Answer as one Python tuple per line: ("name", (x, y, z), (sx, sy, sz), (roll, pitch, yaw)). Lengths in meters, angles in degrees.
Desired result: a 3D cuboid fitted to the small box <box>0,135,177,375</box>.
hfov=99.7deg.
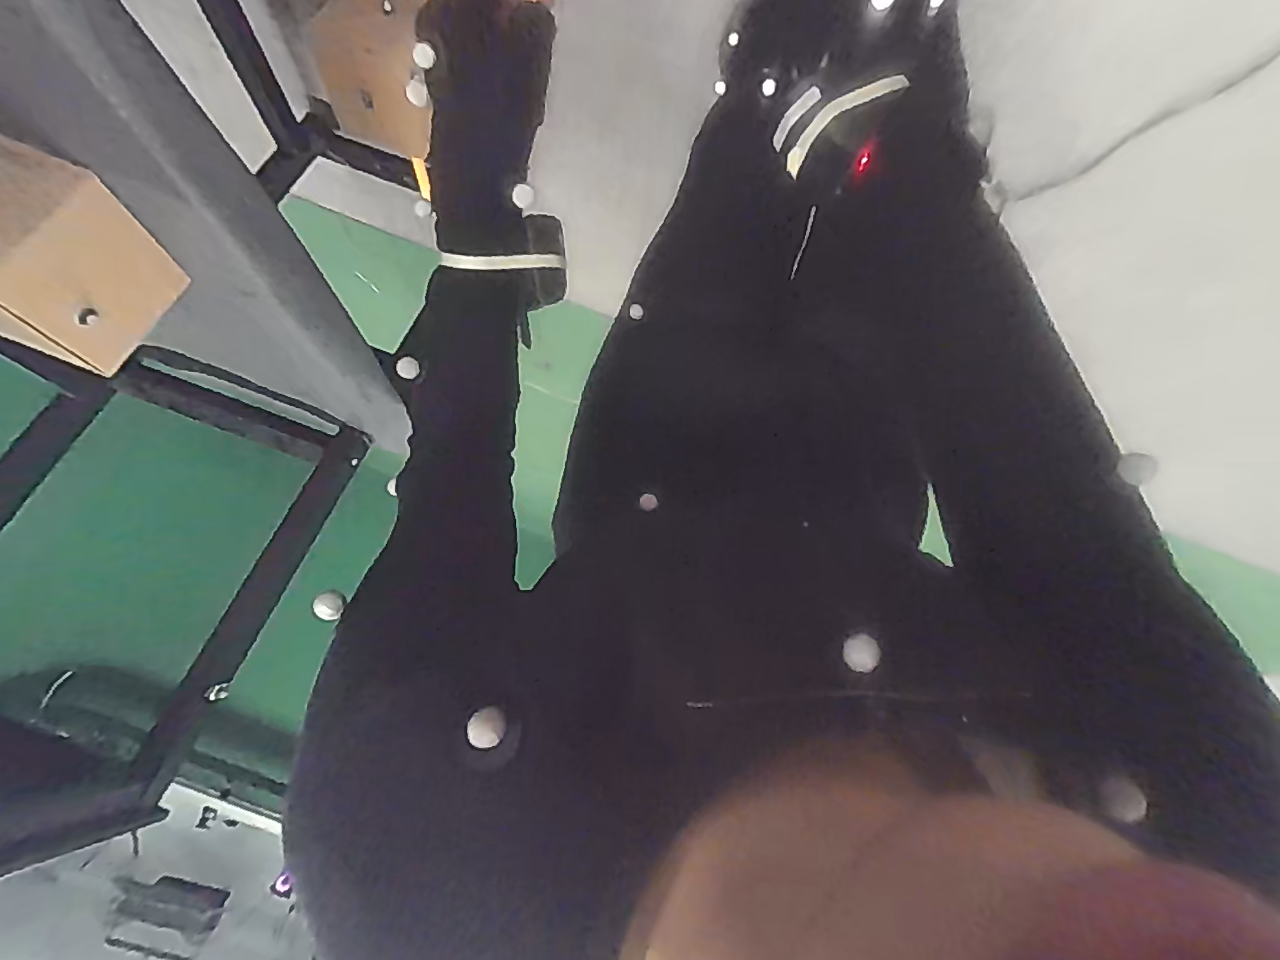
("small box", (-0.692, -0.256, 0.610), (0.168, 0.176, 0.179), (22, 158, -3))
